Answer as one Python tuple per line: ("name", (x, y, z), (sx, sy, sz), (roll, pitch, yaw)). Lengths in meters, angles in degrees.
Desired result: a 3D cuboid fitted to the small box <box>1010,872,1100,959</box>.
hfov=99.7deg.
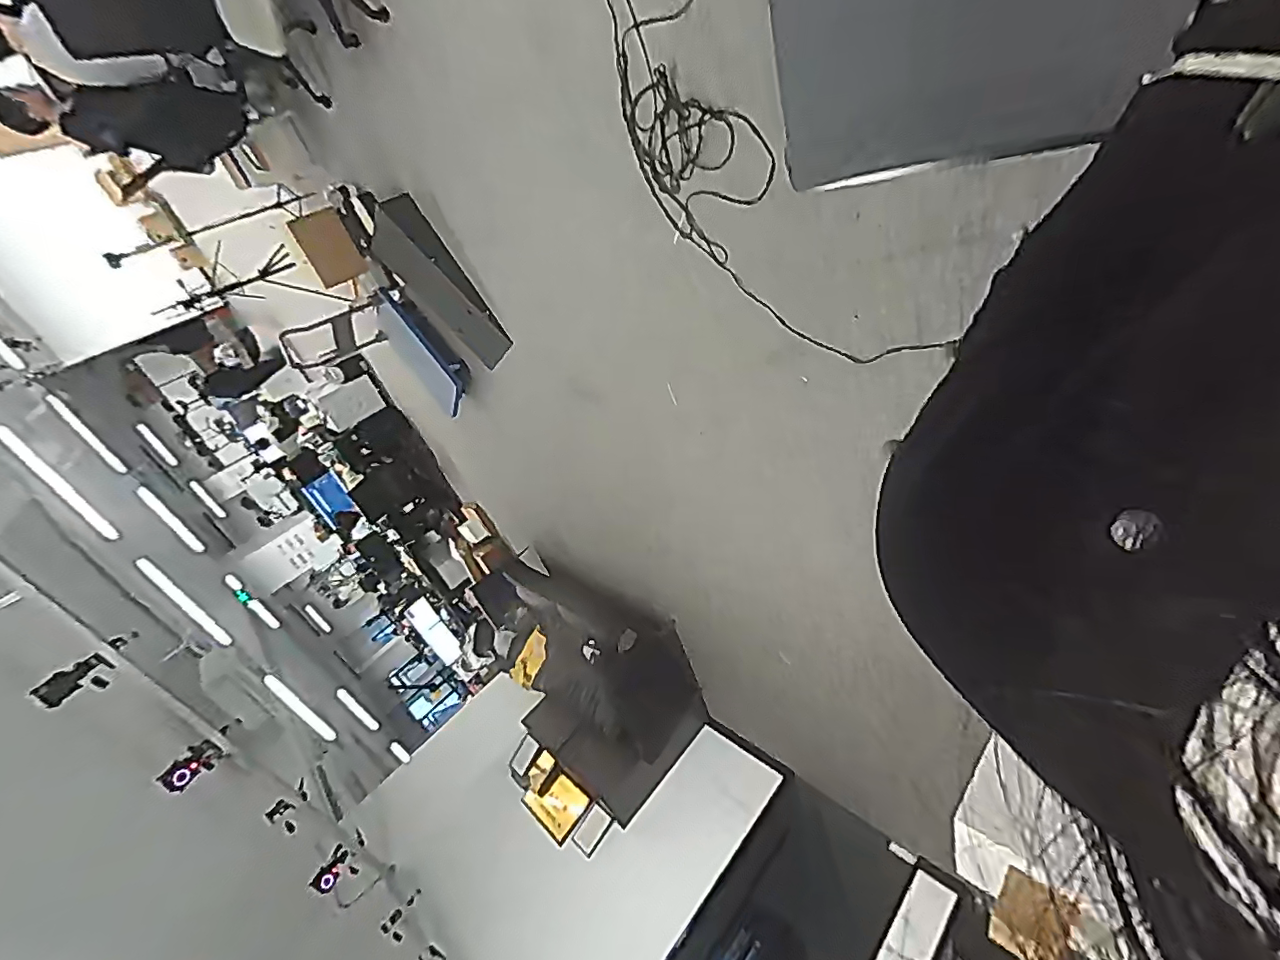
("small box", (1.183, 1.281, 1.544), (0.168, 0.176, 0.179), (17, 138, 46))
